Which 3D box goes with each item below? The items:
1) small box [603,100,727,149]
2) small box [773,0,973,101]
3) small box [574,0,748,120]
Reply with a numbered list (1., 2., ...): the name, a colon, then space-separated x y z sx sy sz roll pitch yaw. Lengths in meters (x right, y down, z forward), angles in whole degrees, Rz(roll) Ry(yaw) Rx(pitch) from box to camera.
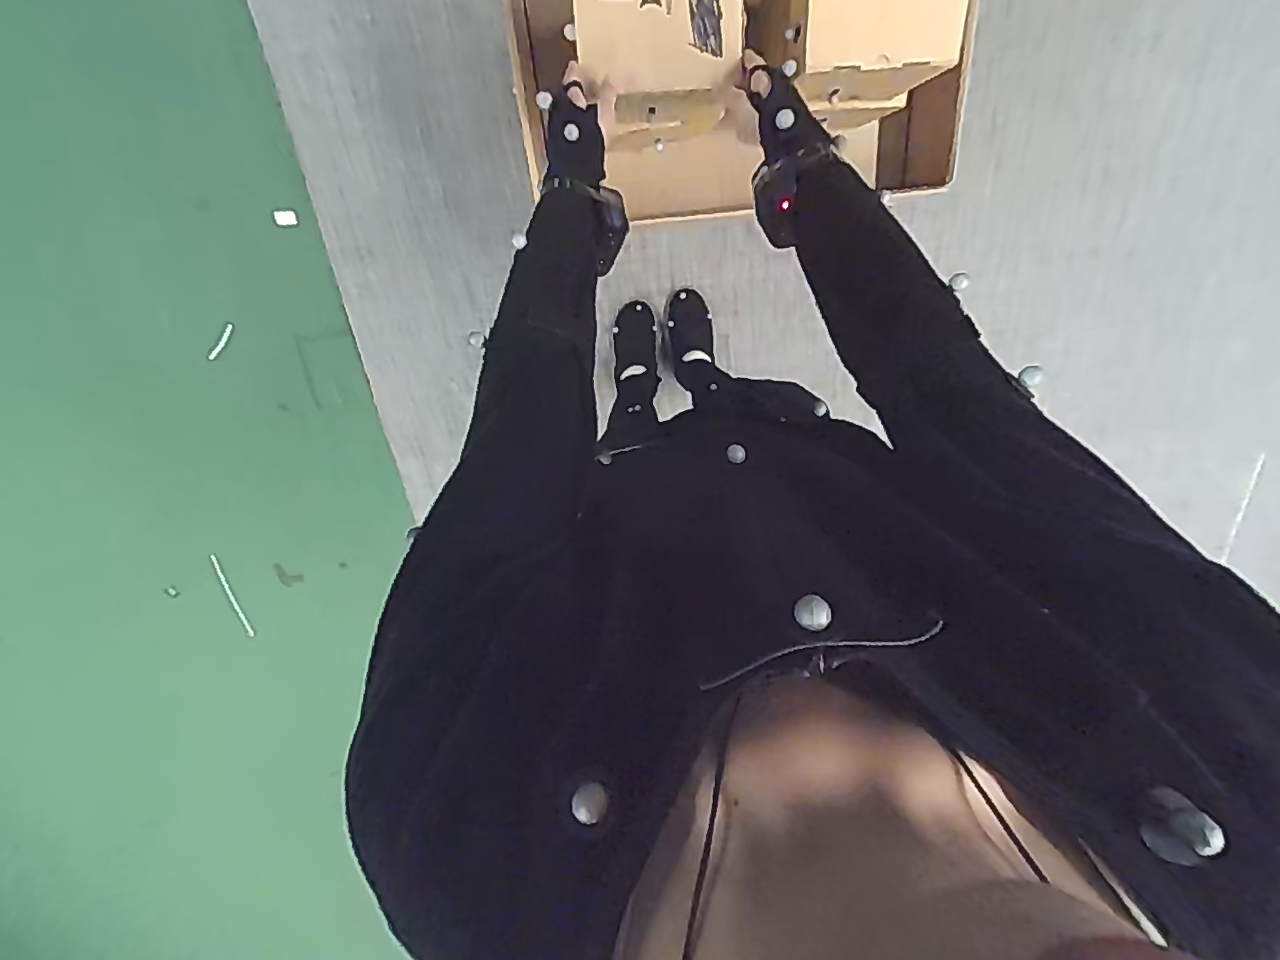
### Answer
1. small box: 0.020 -0.589 0.759 0.168 0.176 0.179 -9 114 2
2. small box: 0.252 -0.551 0.604 0.168 0.176 0.179 -3 114 1
3. small box: 0.019 -0.521 0.610 0.179 0.176 0.168 -3 114 0
